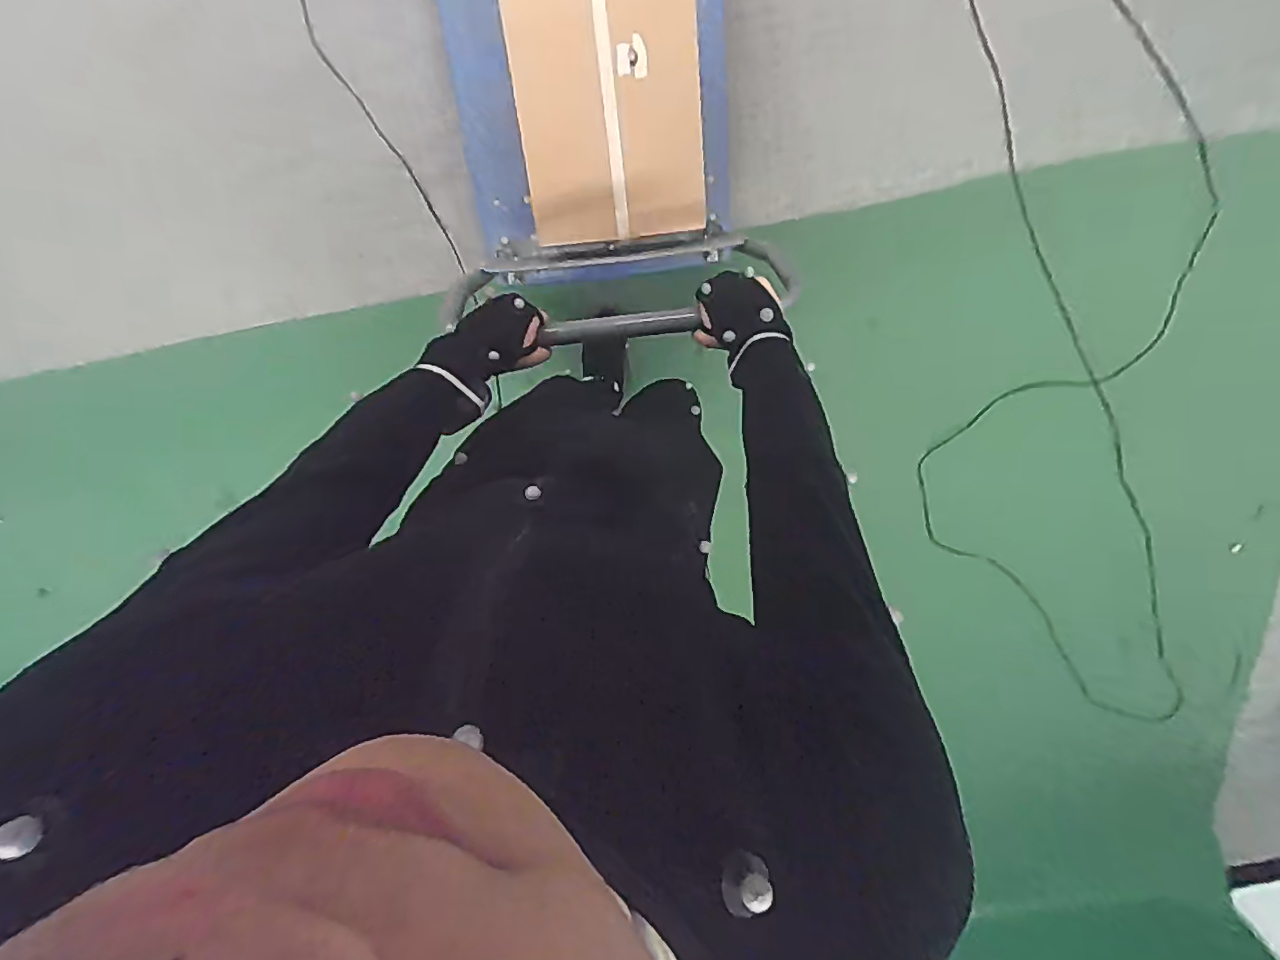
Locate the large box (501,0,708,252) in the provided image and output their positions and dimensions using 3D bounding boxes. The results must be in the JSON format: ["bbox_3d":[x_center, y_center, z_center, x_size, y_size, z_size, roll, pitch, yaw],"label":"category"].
[{"bbox_3d":[-0.056,-0.683,1.060,0.320,0.320,0.408,-7,113,-1],"label":"large box"}]
